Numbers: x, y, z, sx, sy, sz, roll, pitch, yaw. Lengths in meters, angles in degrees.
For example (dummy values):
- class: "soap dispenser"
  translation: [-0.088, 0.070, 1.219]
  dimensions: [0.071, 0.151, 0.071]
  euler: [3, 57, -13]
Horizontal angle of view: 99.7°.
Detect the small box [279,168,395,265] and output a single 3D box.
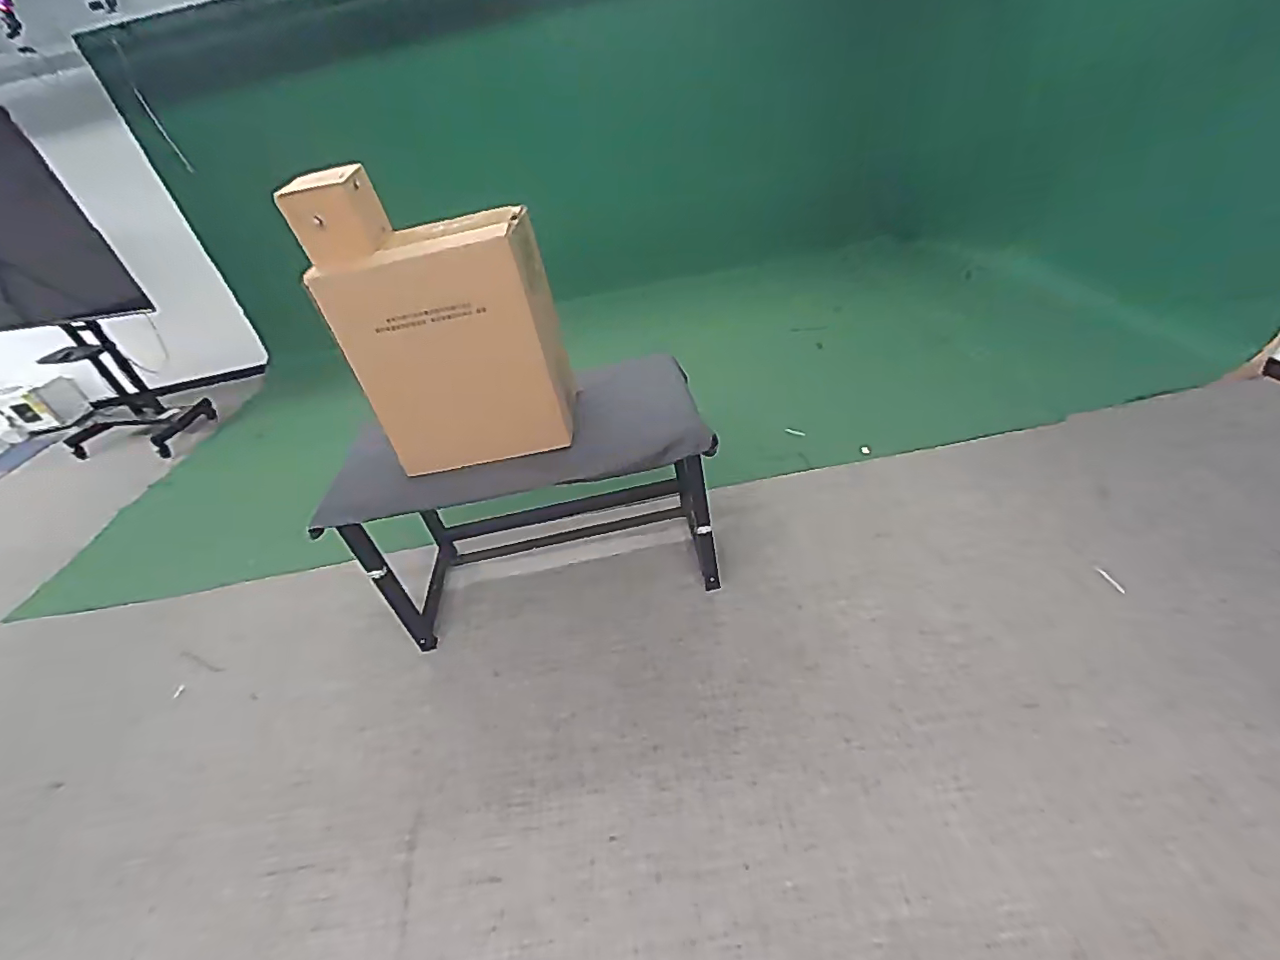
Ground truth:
- class: "small box"
  translation: [-0.770, -0.676, 1.395]
  dimensions: [0.179, 0.176, 0.168]
  euler: [-11, 44, 4]
